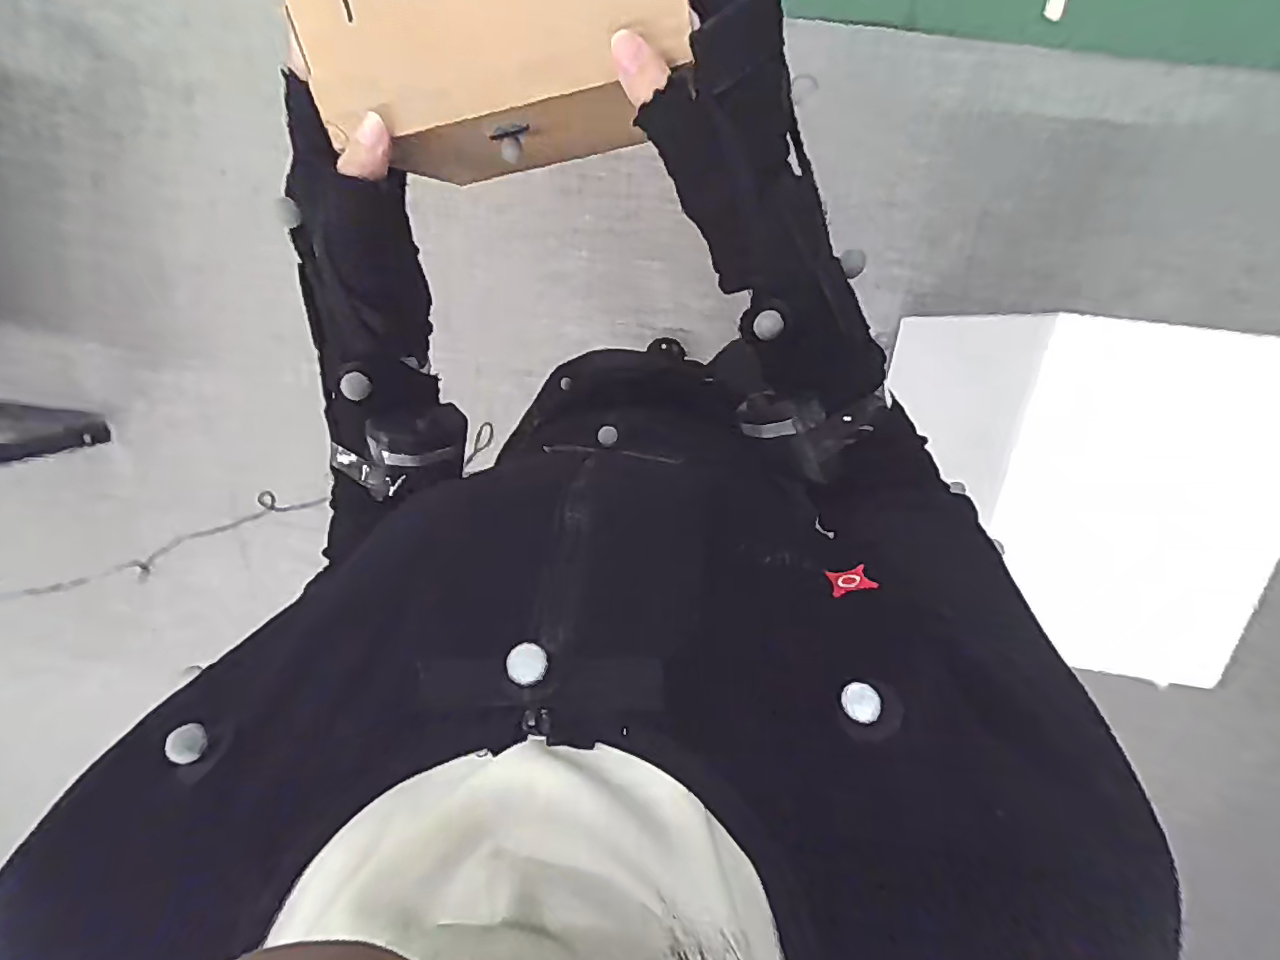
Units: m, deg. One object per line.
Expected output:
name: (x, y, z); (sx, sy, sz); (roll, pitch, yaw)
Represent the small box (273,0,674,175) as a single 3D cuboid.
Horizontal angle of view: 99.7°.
small box: (-0.079, -0.283, 0.294); (0.179, 0.176, 0.168); (-10, 112, 7)
